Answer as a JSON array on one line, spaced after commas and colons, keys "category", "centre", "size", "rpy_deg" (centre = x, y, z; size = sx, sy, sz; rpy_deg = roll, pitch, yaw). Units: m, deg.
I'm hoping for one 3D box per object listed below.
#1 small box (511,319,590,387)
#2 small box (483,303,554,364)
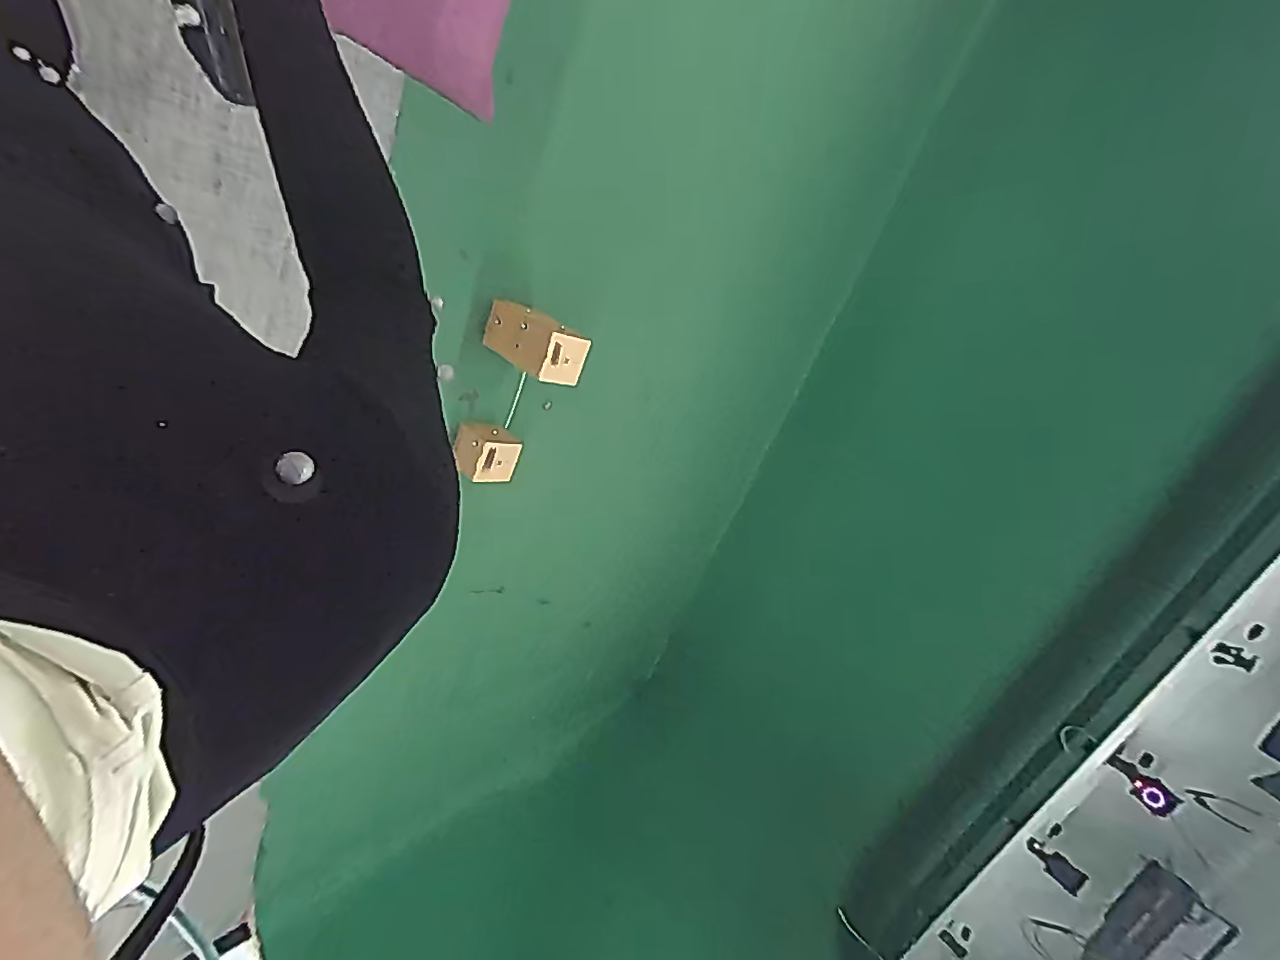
[{"category": "small box", "centre": [-0.306, -0.430, 1.826], "size": [0.179, 0.176, 0.168], "rpy_deg": [-4, 123, -53]}, {"category": "small box", "centre": [-0.421, -0.509, 1.911], "size": [0.179, 0.176, 0.168], "rpy_deg": [-3, 122, -52]}]
